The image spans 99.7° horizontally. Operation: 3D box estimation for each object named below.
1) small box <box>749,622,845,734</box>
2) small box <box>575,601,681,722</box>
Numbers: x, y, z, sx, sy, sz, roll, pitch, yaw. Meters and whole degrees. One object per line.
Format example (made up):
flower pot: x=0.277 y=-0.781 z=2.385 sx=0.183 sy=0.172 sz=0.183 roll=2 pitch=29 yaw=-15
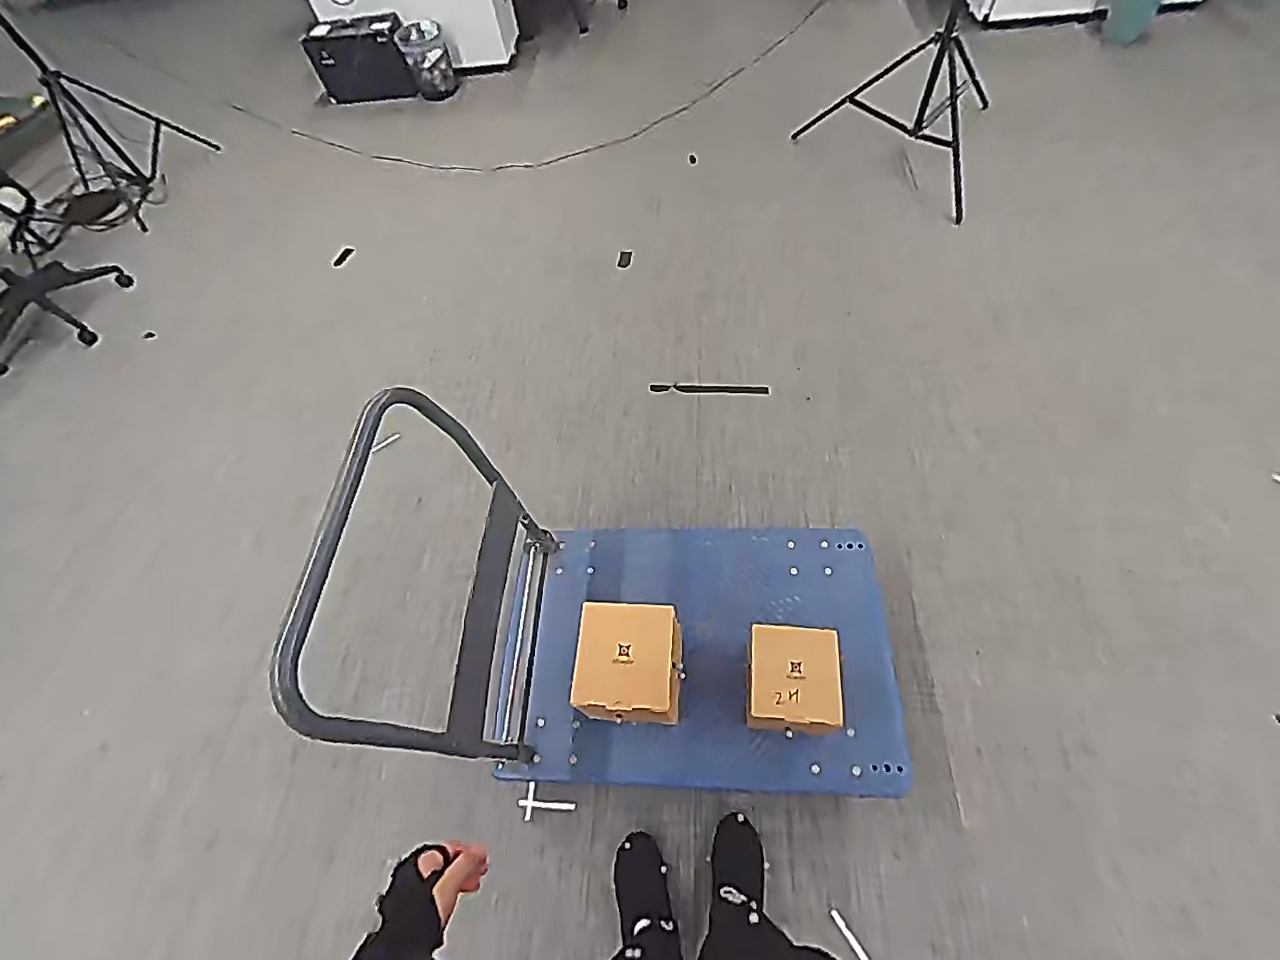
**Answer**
small box: x=0.310 y=0.404 z=1.098 sx=0.168 sy=0.176 sz=0.179 roll=2 pitch=60 yaw=9
small box: x=-0.013 y=0.333 z=0.989 sx=0.168 sy=0.176 sz=0.179 roll=1 pitch=61 yaw=7
